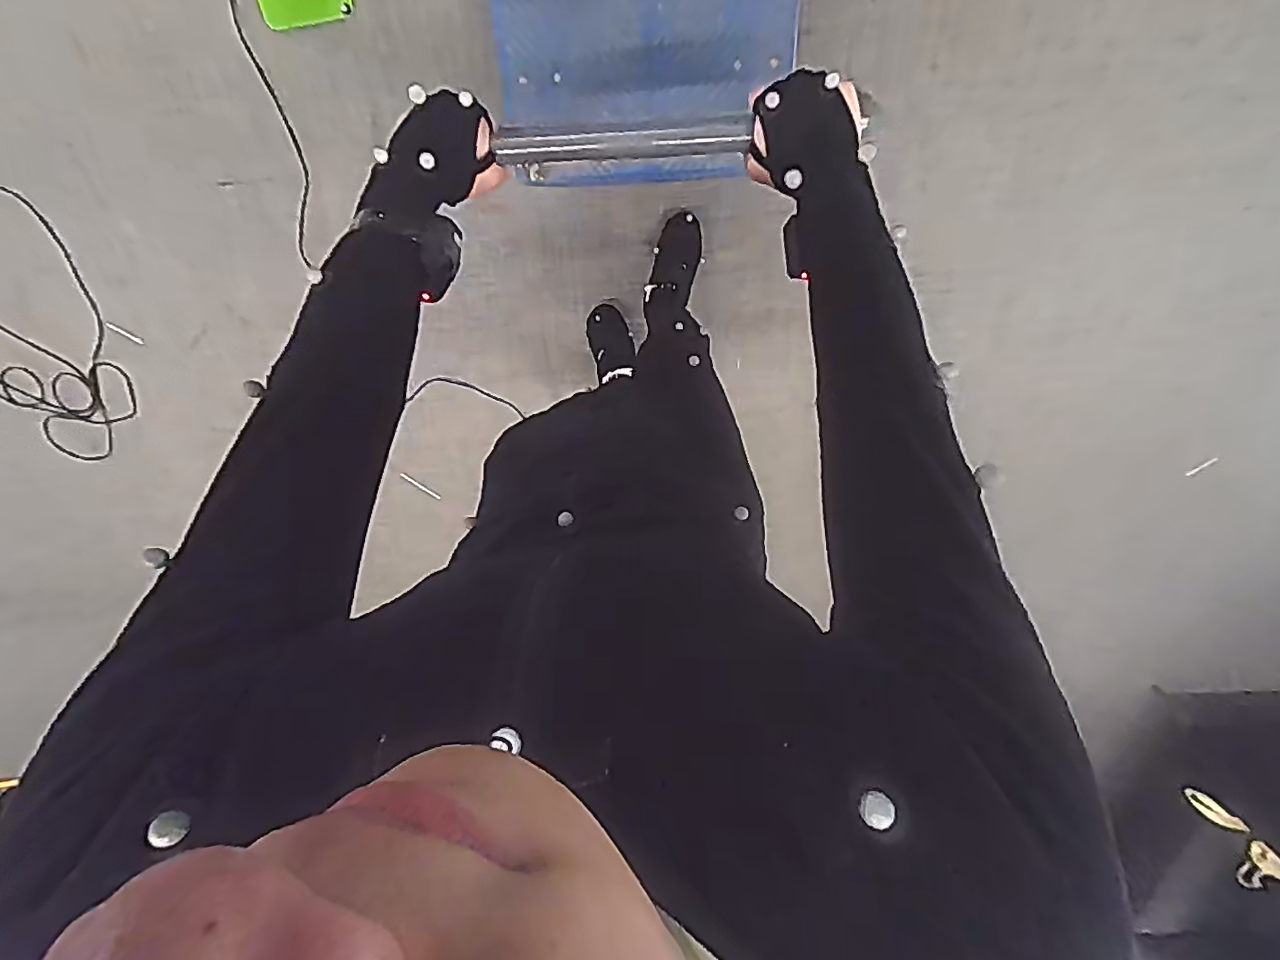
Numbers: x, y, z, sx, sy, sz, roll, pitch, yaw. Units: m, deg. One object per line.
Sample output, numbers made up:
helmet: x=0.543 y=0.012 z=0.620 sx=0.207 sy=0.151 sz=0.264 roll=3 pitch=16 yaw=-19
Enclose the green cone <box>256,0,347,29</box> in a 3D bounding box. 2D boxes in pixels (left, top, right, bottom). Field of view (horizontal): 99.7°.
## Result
green cone: x=-0.736 y=-0.986 z=0.964 sx=0.202 sy=0.368 sz=0.200 roll=-6 pitch=119 yaw=7
